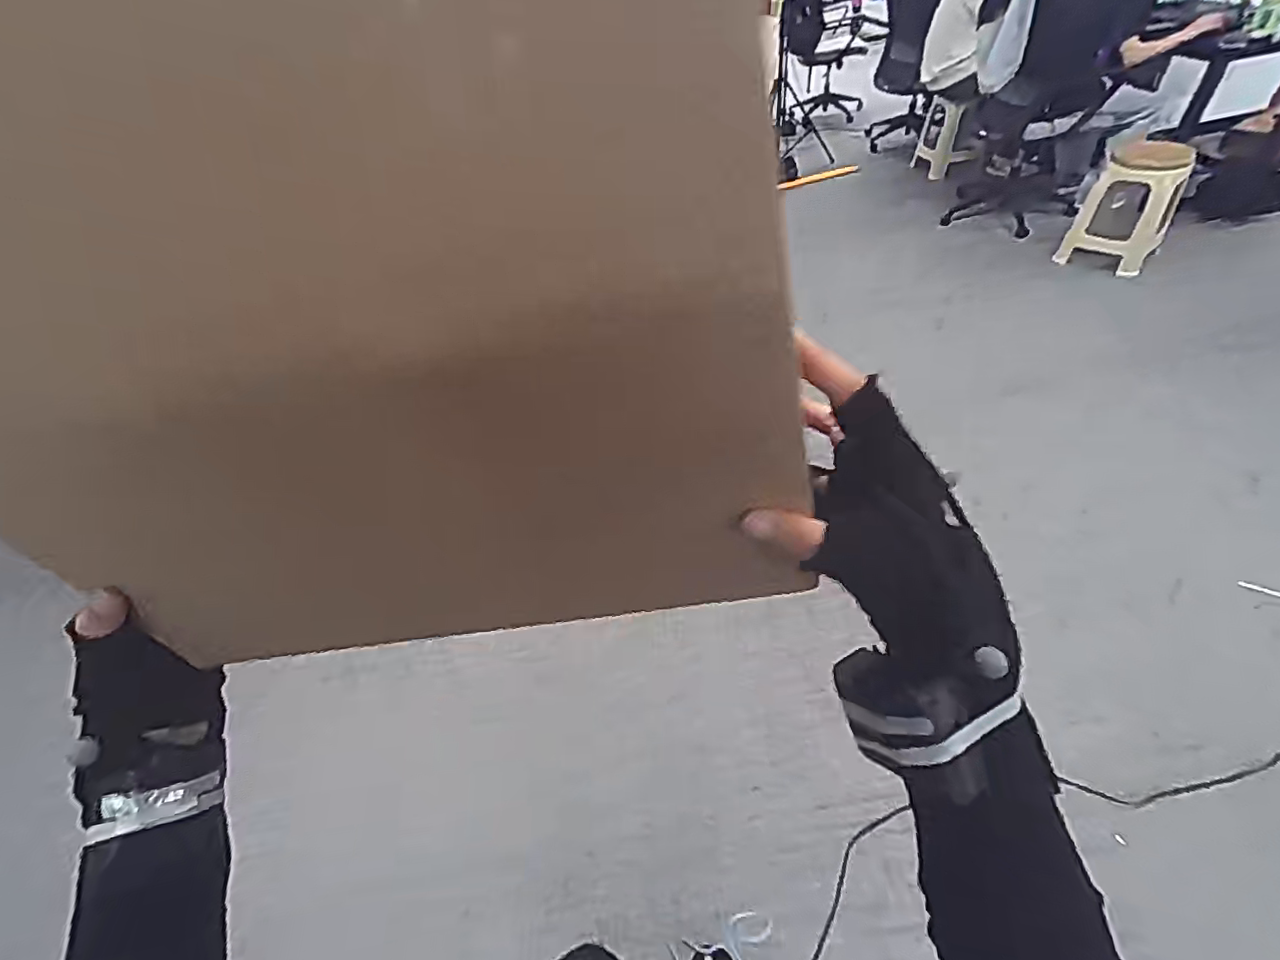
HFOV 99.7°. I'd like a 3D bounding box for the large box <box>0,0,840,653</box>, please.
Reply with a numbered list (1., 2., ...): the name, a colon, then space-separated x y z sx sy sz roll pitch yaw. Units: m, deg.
1. large box: -0.118 -0.124 0.340 0.408 0.320 0.320 -9 41 10
